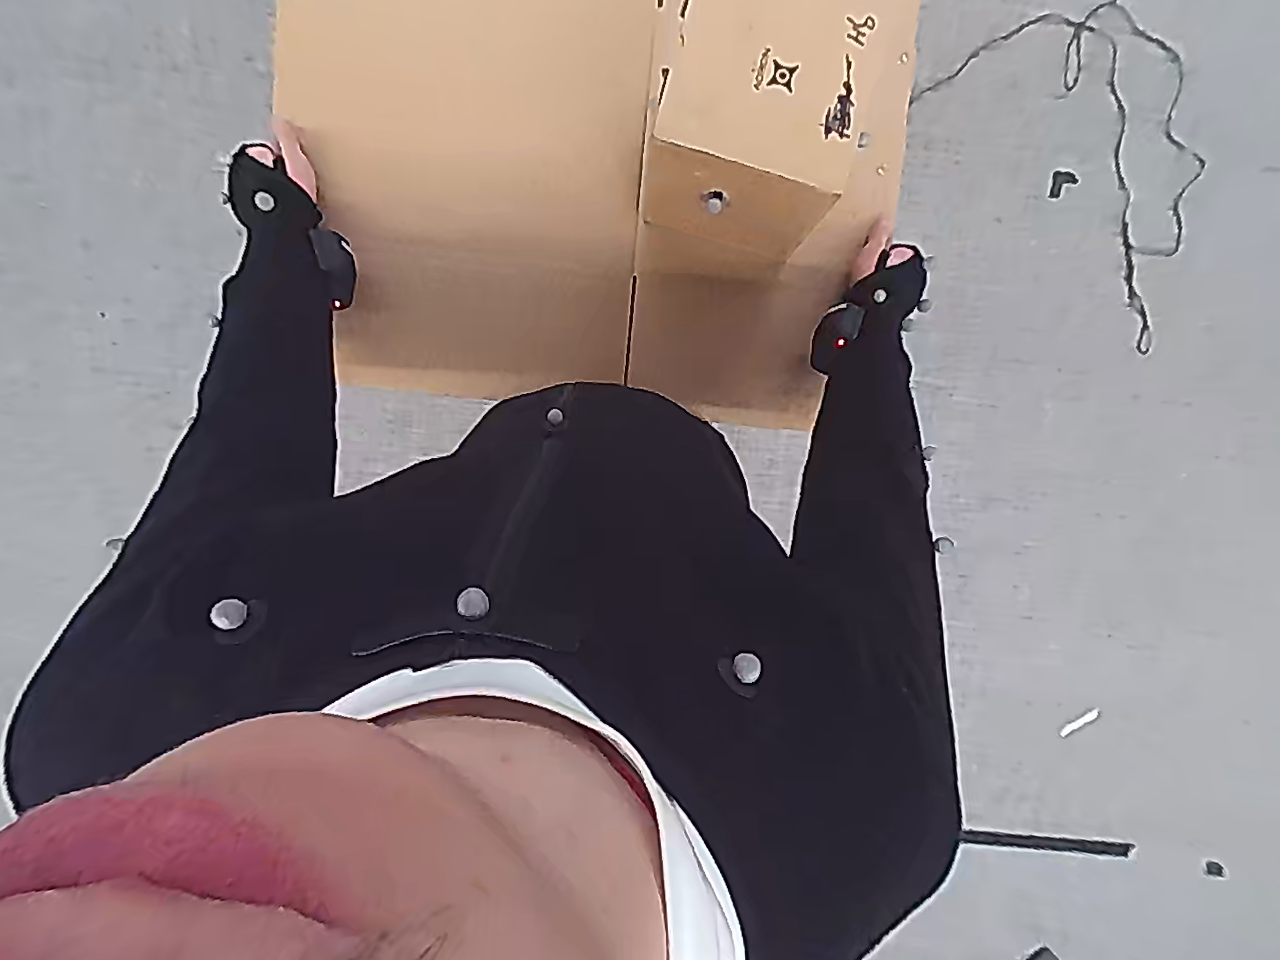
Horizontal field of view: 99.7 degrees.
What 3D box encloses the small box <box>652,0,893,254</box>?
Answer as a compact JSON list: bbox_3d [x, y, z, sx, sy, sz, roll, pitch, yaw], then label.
[{"bbox_3d":[0.115,-0.354,0.549,0.179,0.176,0.168,15,93,-2],"label":"small box"}]
